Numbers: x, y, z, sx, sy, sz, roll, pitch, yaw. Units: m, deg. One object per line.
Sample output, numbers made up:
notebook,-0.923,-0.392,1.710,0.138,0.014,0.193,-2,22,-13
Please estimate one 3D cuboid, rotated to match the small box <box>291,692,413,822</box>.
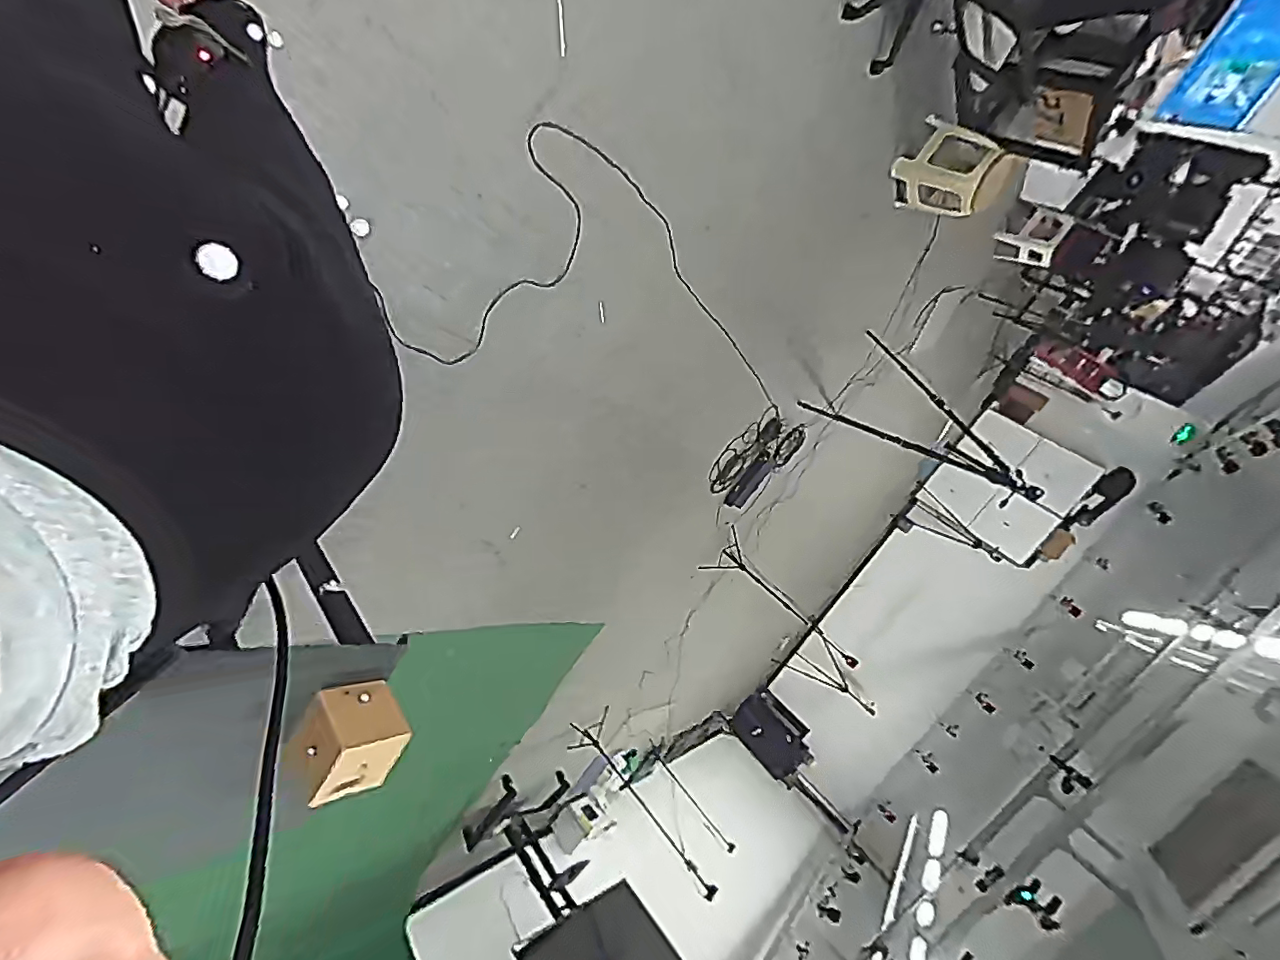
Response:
small box,-0.658,0.616,1.224,0.179,0.176,0.168,-57,148,11
